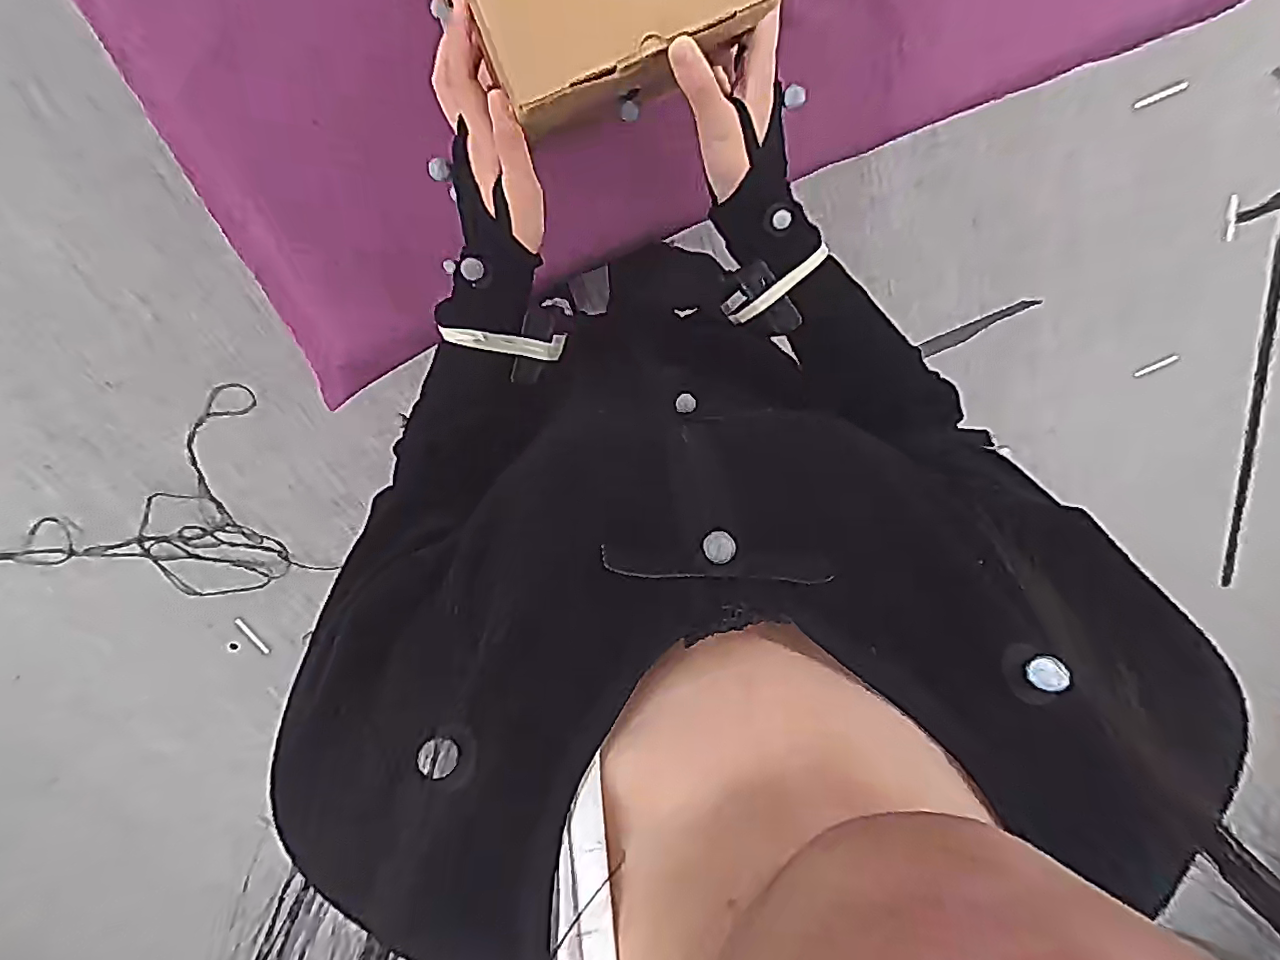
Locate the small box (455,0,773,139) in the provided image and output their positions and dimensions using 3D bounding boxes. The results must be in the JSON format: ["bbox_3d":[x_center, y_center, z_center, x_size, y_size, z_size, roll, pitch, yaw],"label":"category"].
[{"bbox_3d":[-0.040,-0.342,0.343,0.168,0.176,0.179,-24,116,-1],"label":"small box"}]

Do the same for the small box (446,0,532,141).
[{"bbox_3d":[-0.082,-0.427,0.479,0.168,0.176,0.179,-24,116,-1],"label":"small box"}]
